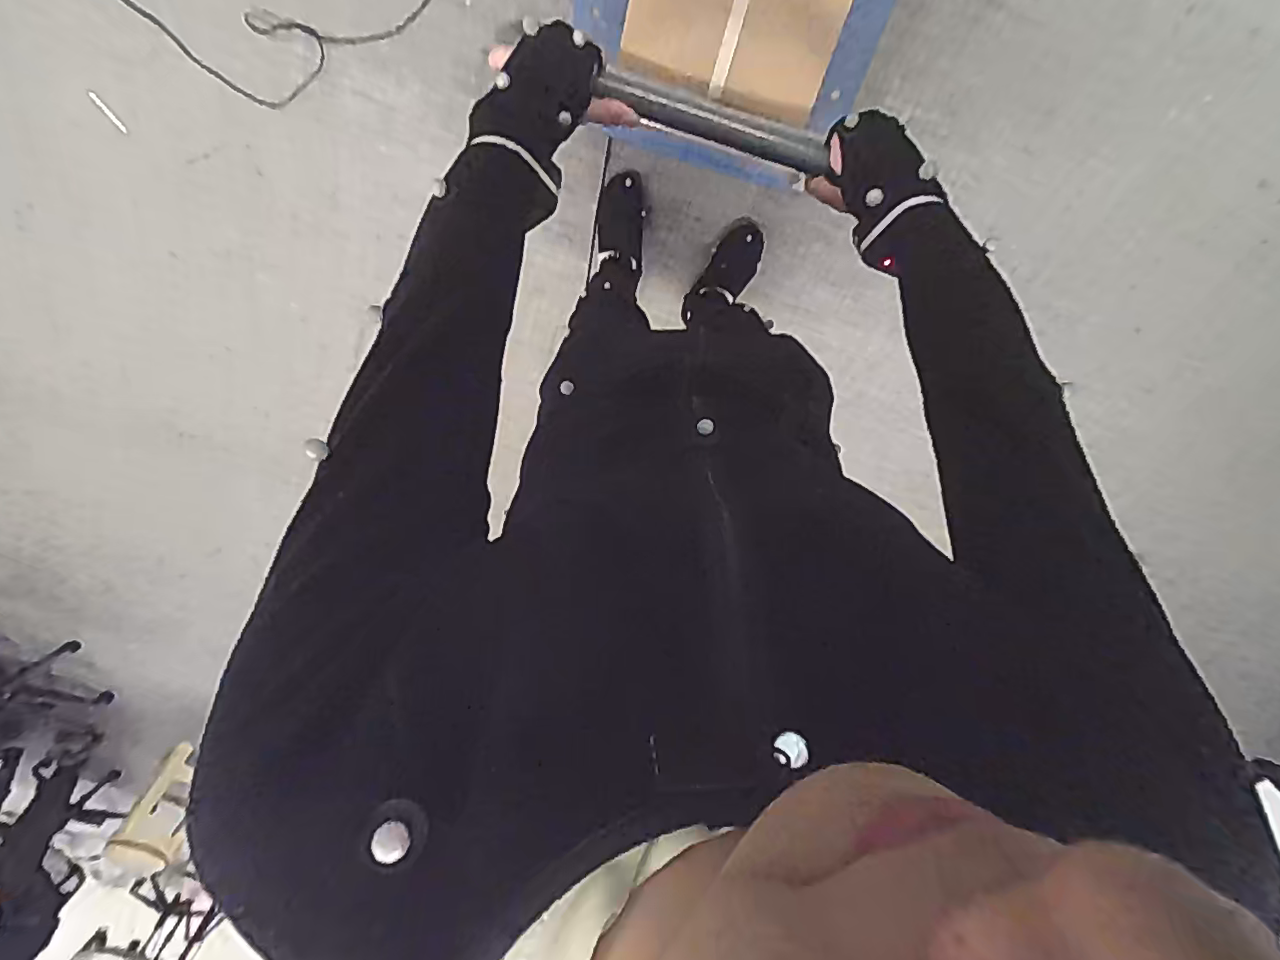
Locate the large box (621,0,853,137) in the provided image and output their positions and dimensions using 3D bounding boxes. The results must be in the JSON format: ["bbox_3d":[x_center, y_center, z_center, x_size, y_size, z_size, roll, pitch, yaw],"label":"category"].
[{"bbox_3d":[0.177,-0.828,0.875,0.320,0.320,0.408,15,121,-5],"label":"large box"}]
